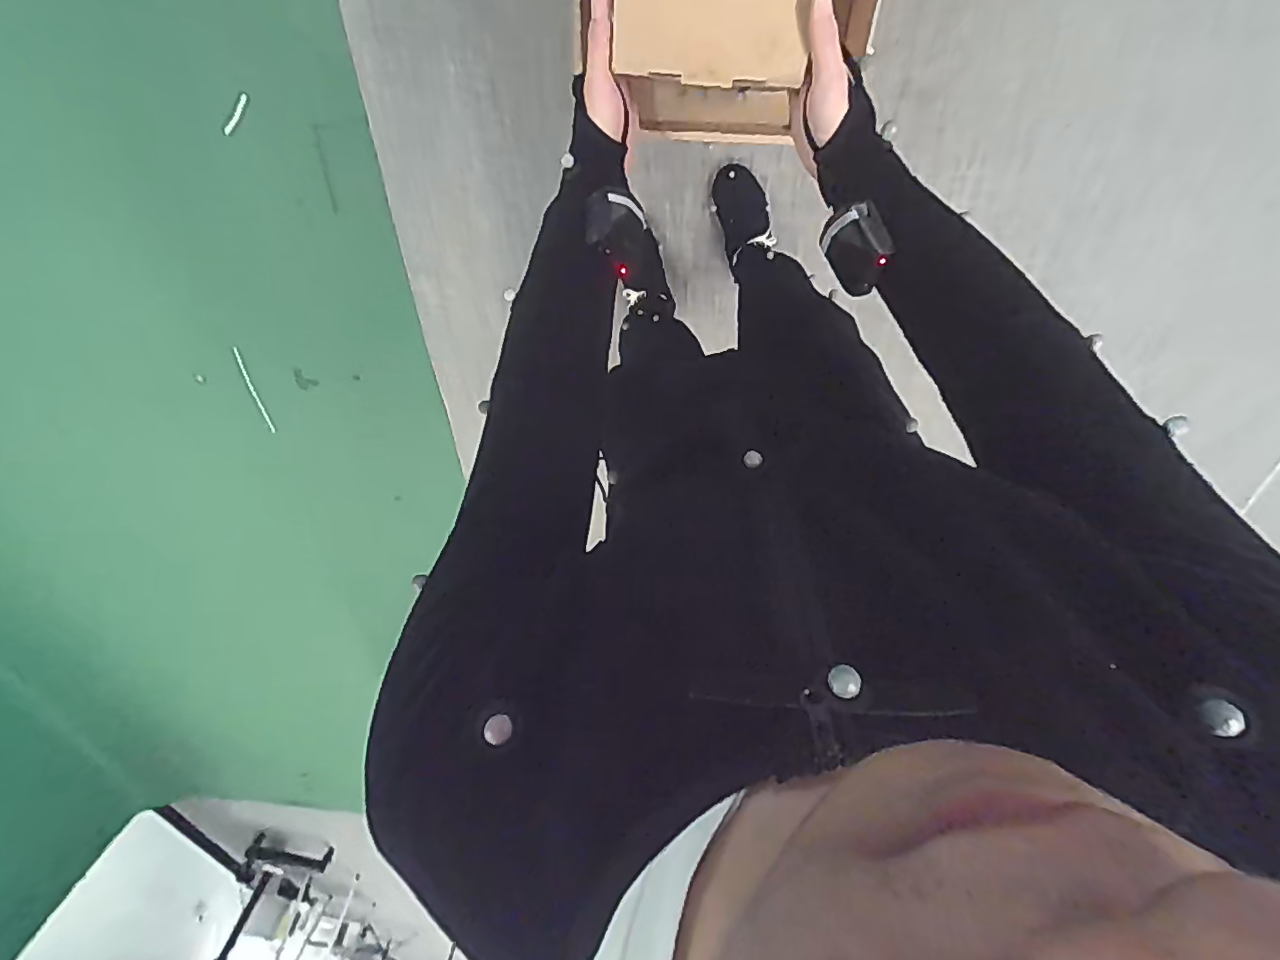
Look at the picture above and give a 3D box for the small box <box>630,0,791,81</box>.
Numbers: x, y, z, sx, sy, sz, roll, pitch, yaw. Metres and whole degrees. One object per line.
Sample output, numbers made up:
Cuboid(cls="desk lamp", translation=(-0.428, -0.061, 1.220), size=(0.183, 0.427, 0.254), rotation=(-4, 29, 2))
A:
Cuboid(cls="small box", translation=(0.083, -0.556, 0.599), size=(0.168, 0.176, 0.179), rotation=(5, 126, 3))
